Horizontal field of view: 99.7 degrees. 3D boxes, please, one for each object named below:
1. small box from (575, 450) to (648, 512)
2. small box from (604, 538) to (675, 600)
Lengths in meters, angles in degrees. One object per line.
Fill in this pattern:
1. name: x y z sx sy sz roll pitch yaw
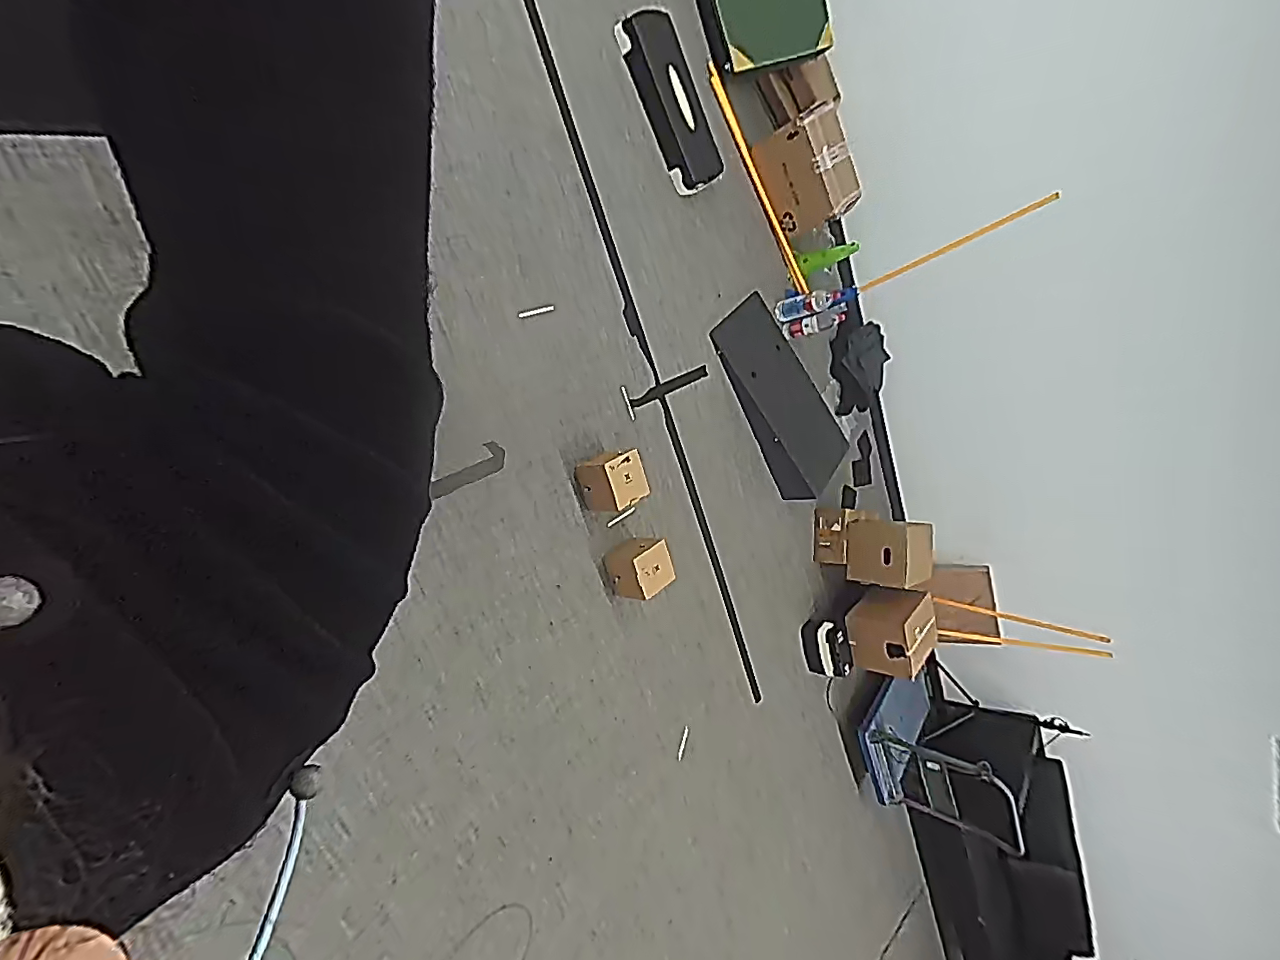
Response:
1. small box: -0.102 0.000 1.928 0.168 0.176 0.179 -29 109 -41
2. small box: -0.002 0.323 2.008 0.179 0.176 0.168 -29 107 -41
